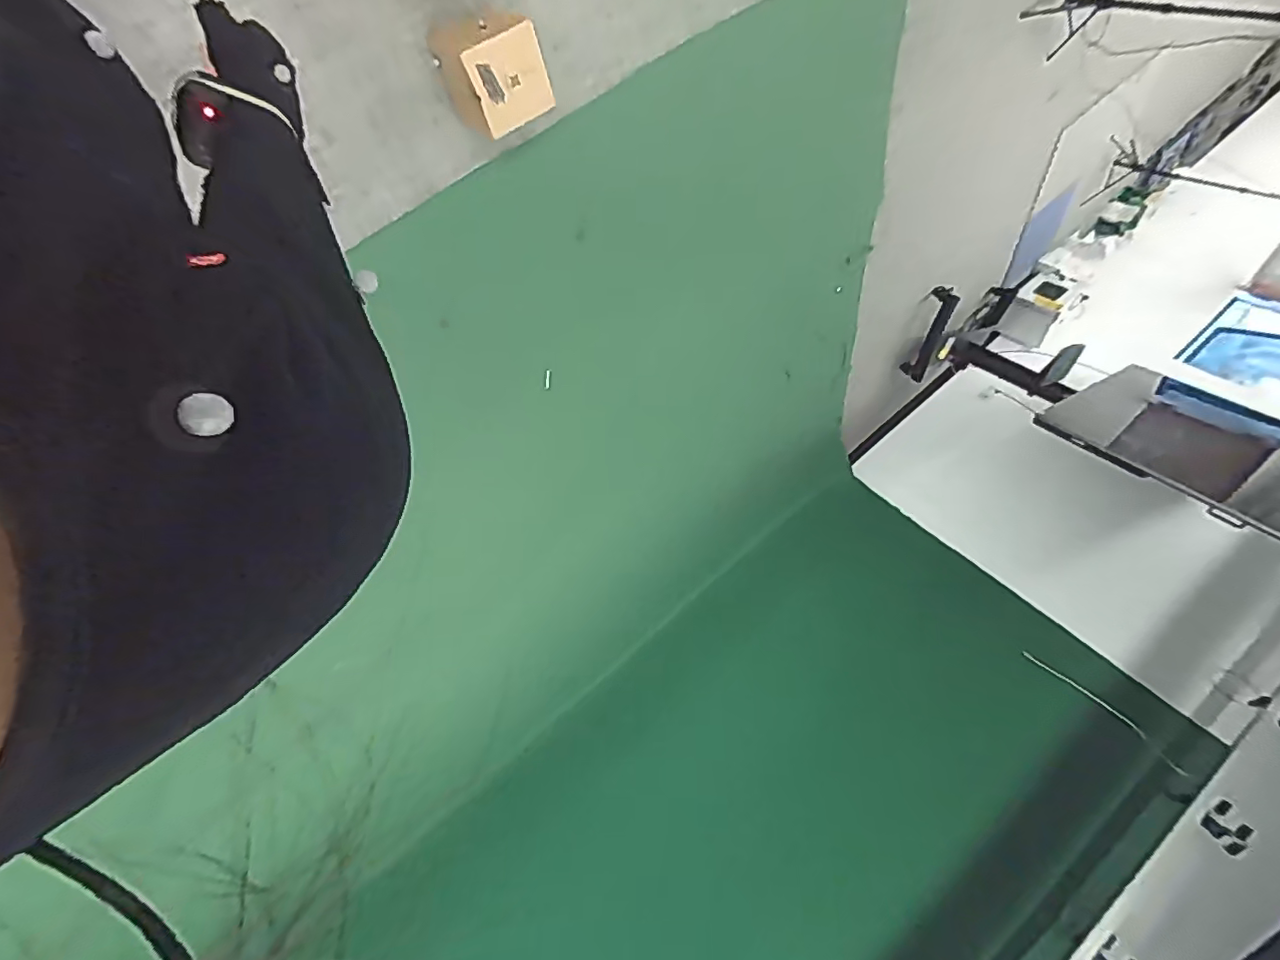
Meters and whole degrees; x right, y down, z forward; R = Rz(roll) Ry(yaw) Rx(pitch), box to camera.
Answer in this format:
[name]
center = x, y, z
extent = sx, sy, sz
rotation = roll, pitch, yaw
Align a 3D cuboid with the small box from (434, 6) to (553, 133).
[small box]
center = -0.327, -0.904, 1.189
extent = 0.179, 0.176, 0.168
rotation = -38, 147, -13
